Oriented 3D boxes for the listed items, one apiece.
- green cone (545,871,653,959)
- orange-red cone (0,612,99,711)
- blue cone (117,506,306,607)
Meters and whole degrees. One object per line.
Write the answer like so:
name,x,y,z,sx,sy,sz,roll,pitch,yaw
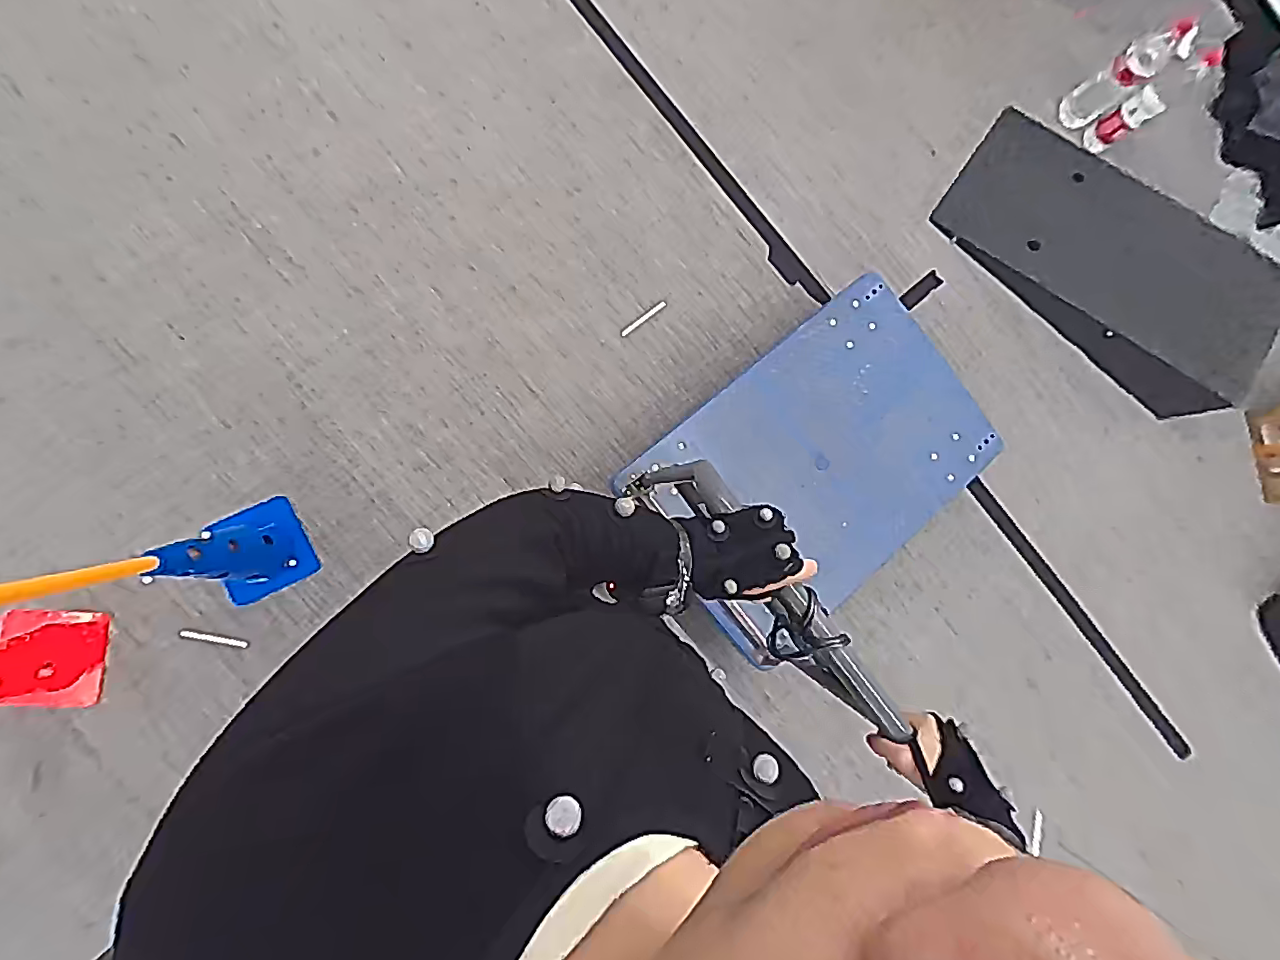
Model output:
green cone,-0.068,1.044,1.109,0.200,0.368,0.202,37,82,-5
orange-red cone,-1.226,0.370,0.964,0.199,0.360,0.198,7,85,-11
blue cone,-0.848,0.158,1.060,0.192,0.380,0.193,-24,90,-10
